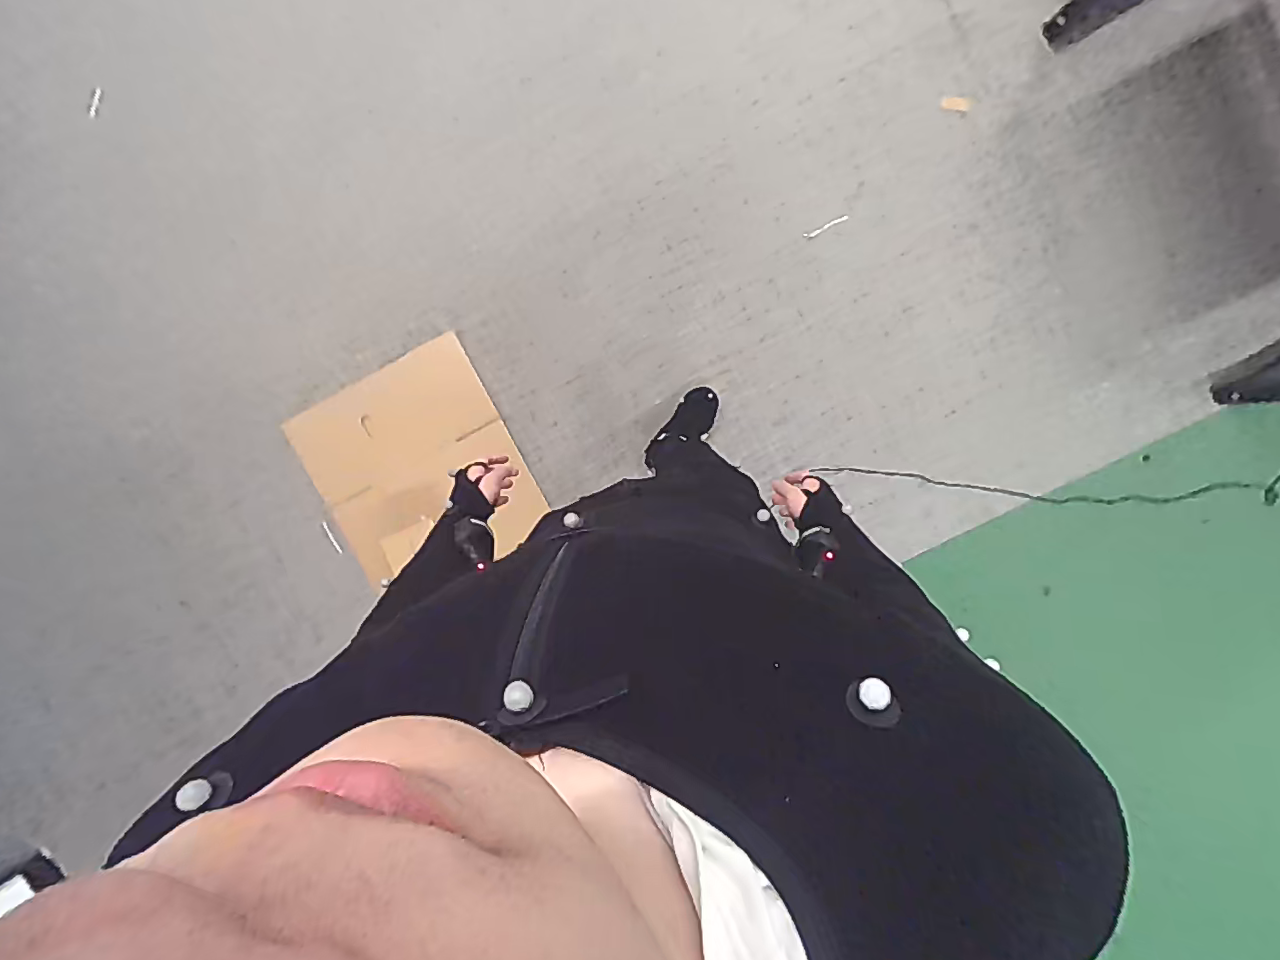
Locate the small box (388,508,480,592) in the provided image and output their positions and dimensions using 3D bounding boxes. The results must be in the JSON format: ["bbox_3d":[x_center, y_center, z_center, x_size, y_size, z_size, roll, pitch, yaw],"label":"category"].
[{"bbox_3d":[-0.594,0.199,1.586,0.168,0.176,0.179,-23,94,4],"label":"small box"}]
